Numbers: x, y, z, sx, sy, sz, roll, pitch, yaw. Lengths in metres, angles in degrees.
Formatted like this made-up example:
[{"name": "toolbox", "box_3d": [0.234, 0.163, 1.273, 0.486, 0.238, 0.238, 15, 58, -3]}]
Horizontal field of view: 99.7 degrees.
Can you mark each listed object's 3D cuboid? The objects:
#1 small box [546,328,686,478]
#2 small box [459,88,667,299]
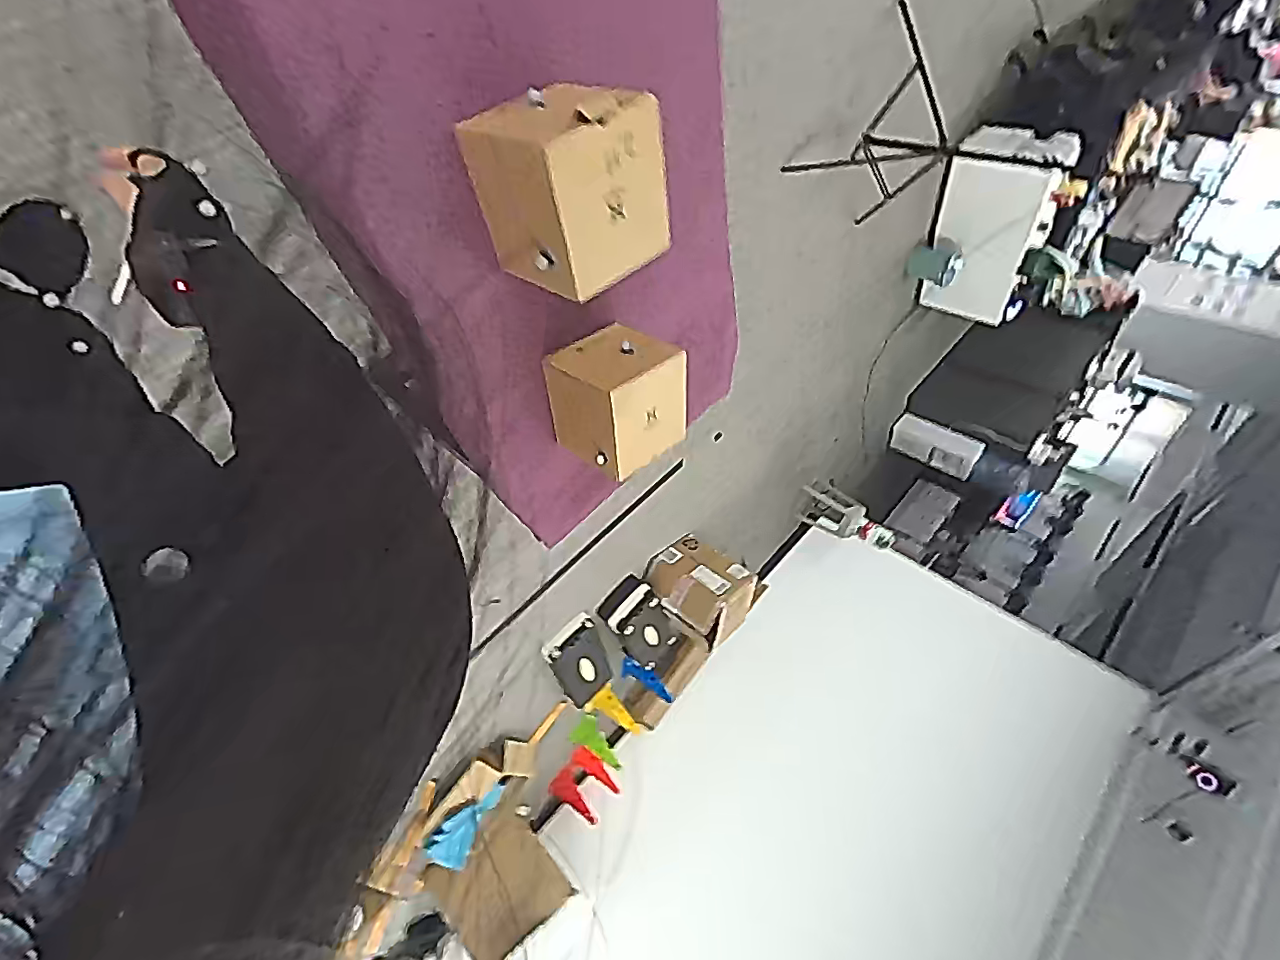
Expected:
[{"name": "small box", "box_3d": [-0.039, -0.140, 0.914, 0.168, 0.176, 0.179, -36, 141, -30]}, {"name": "small box", "box_3d": [-0.089, -0.359, 0.671, 0.168, 0.176, 0.179, -42, 143, -25]}]
